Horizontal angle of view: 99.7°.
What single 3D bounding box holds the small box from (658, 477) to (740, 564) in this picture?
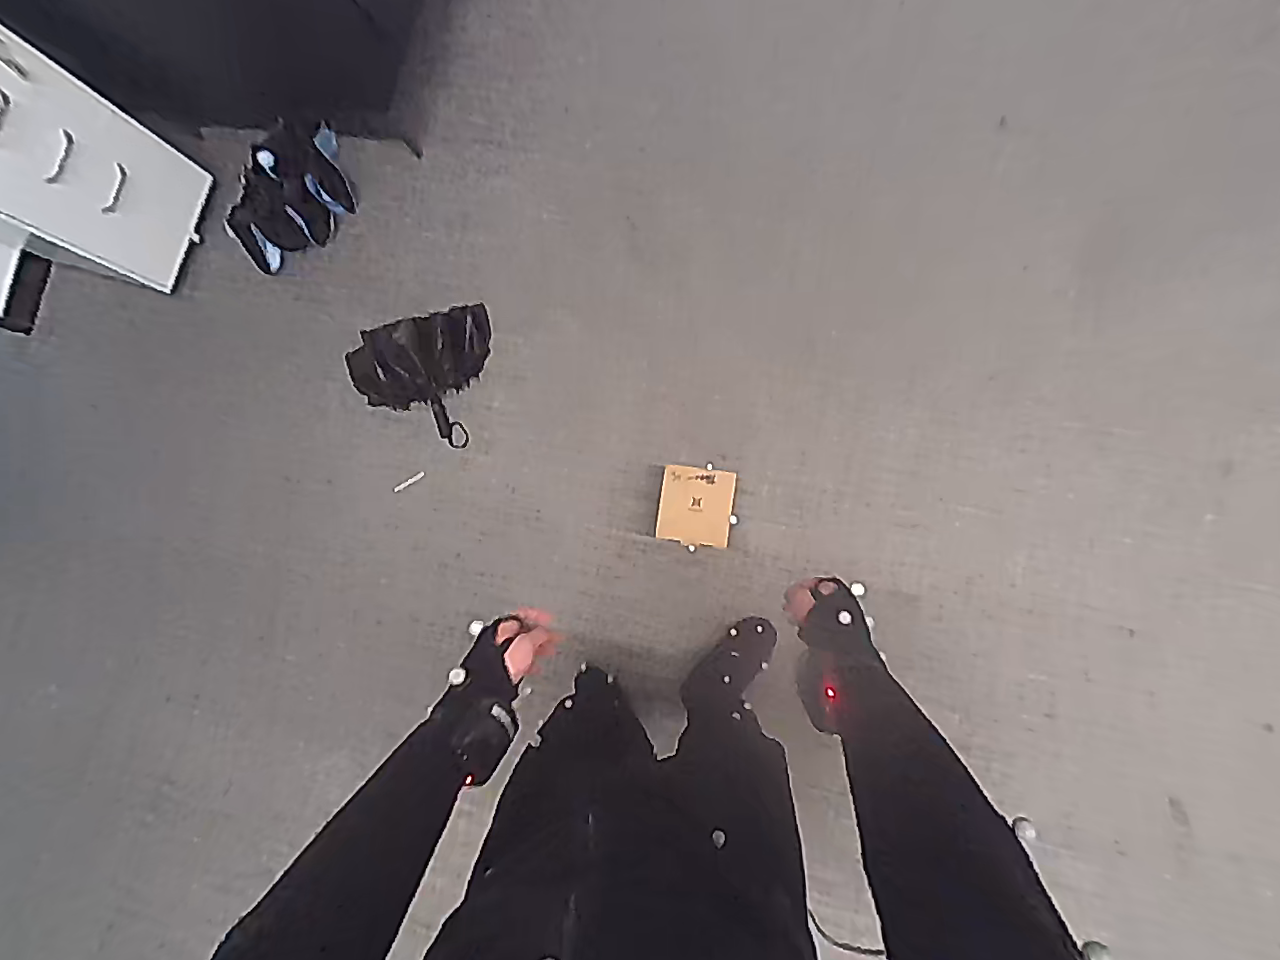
[{"bbox_3d":[0.146,0.099,1.289,0.168,0.176,0.179,8,84,10],"label":"small box"}]
